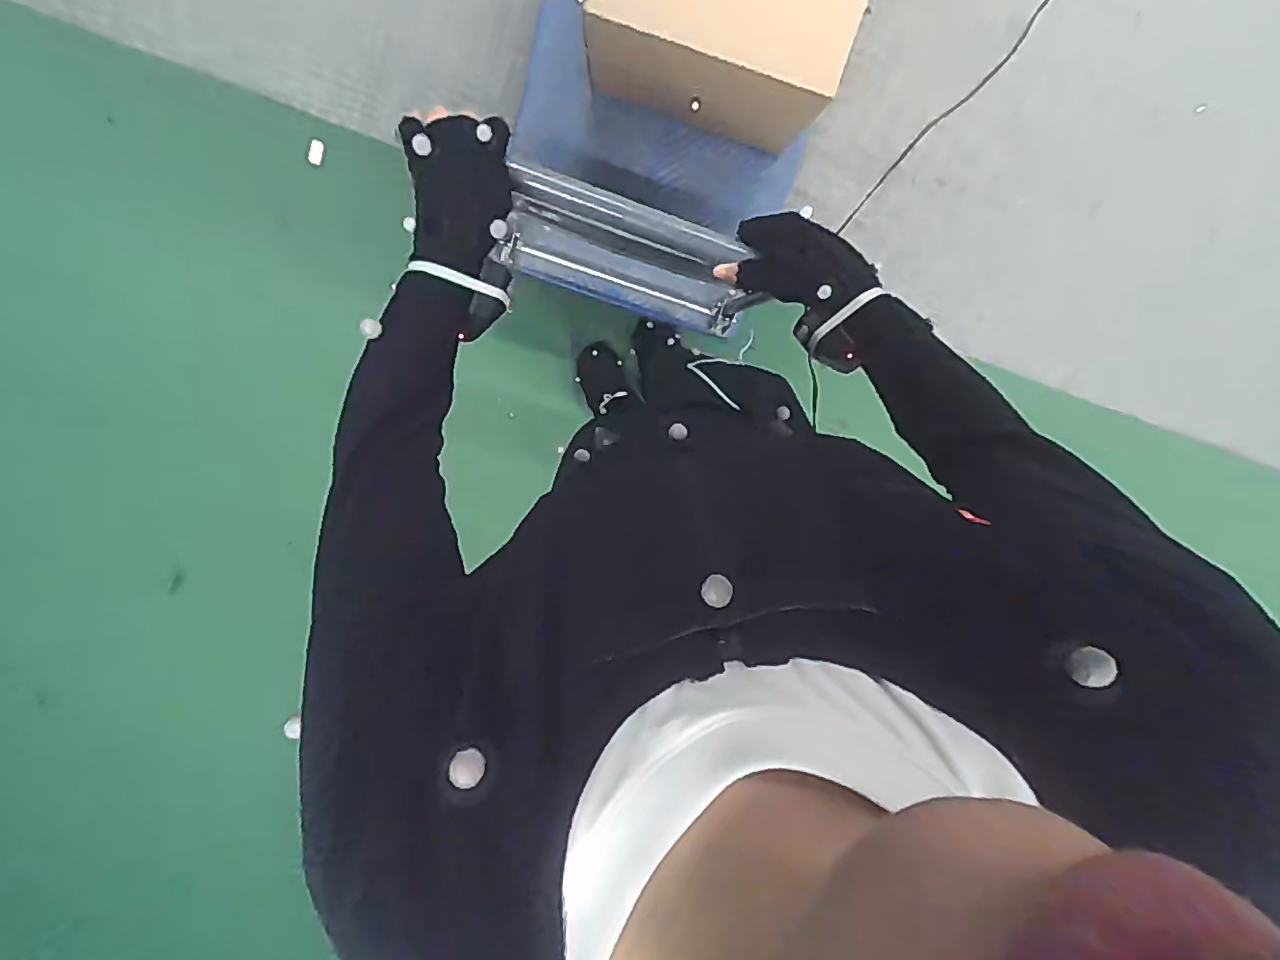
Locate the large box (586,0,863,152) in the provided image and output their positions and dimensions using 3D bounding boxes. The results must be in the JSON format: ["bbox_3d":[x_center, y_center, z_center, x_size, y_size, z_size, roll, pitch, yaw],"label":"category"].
[{"bbox_3d":[0.146,-0.820,0.928,0.408,0.320,0.320,14,105,-5],"label":"large box"}]
